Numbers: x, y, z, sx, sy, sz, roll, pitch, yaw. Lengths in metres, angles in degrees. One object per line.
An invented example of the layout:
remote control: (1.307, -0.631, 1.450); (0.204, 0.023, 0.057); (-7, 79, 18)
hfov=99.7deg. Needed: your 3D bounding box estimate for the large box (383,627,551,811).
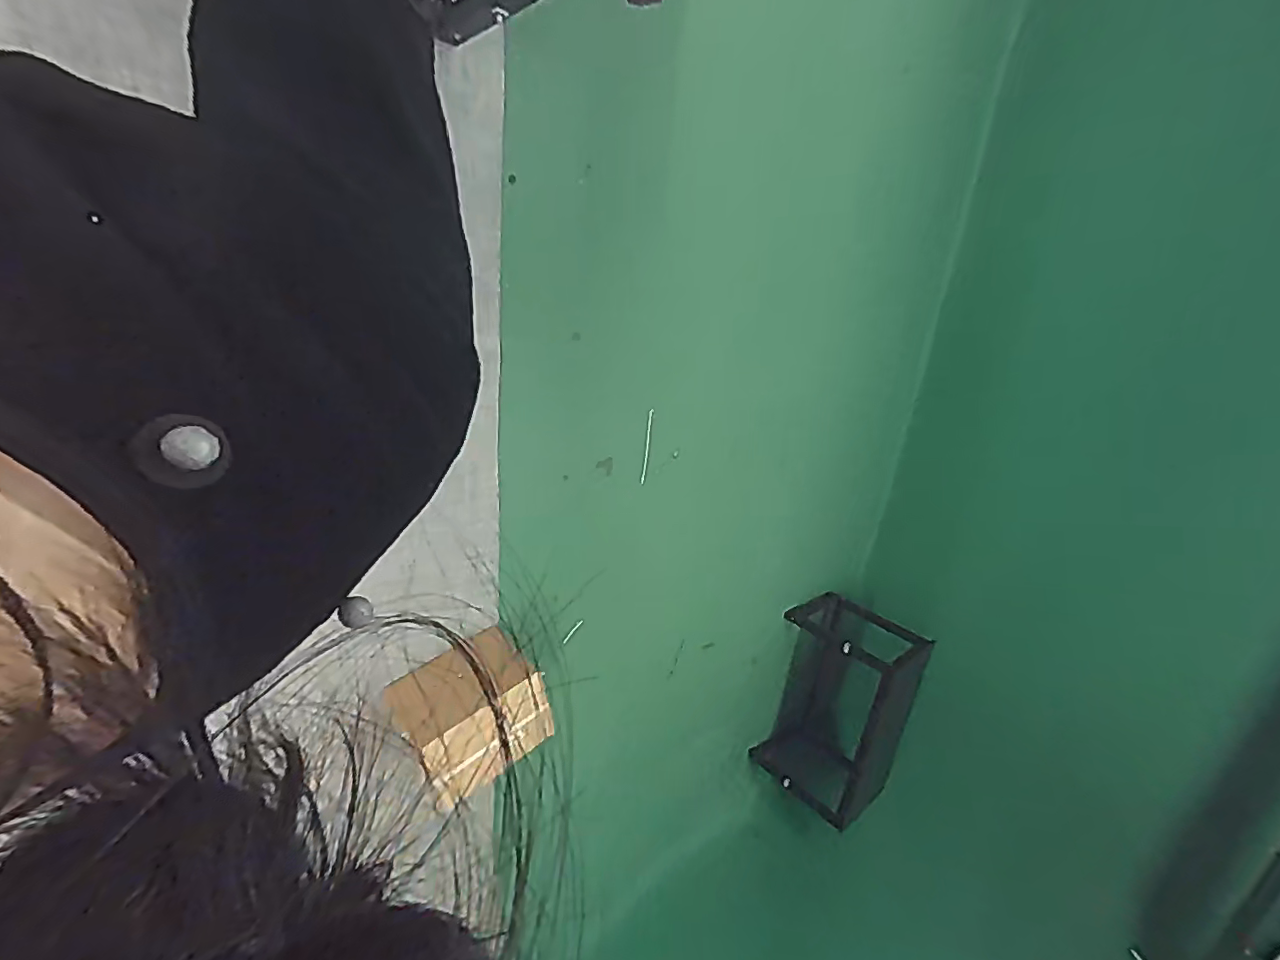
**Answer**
large box: (-0.569, 0.776, 1.809); (0.408, 0.320, 0.320); (-27, 126, -35)
